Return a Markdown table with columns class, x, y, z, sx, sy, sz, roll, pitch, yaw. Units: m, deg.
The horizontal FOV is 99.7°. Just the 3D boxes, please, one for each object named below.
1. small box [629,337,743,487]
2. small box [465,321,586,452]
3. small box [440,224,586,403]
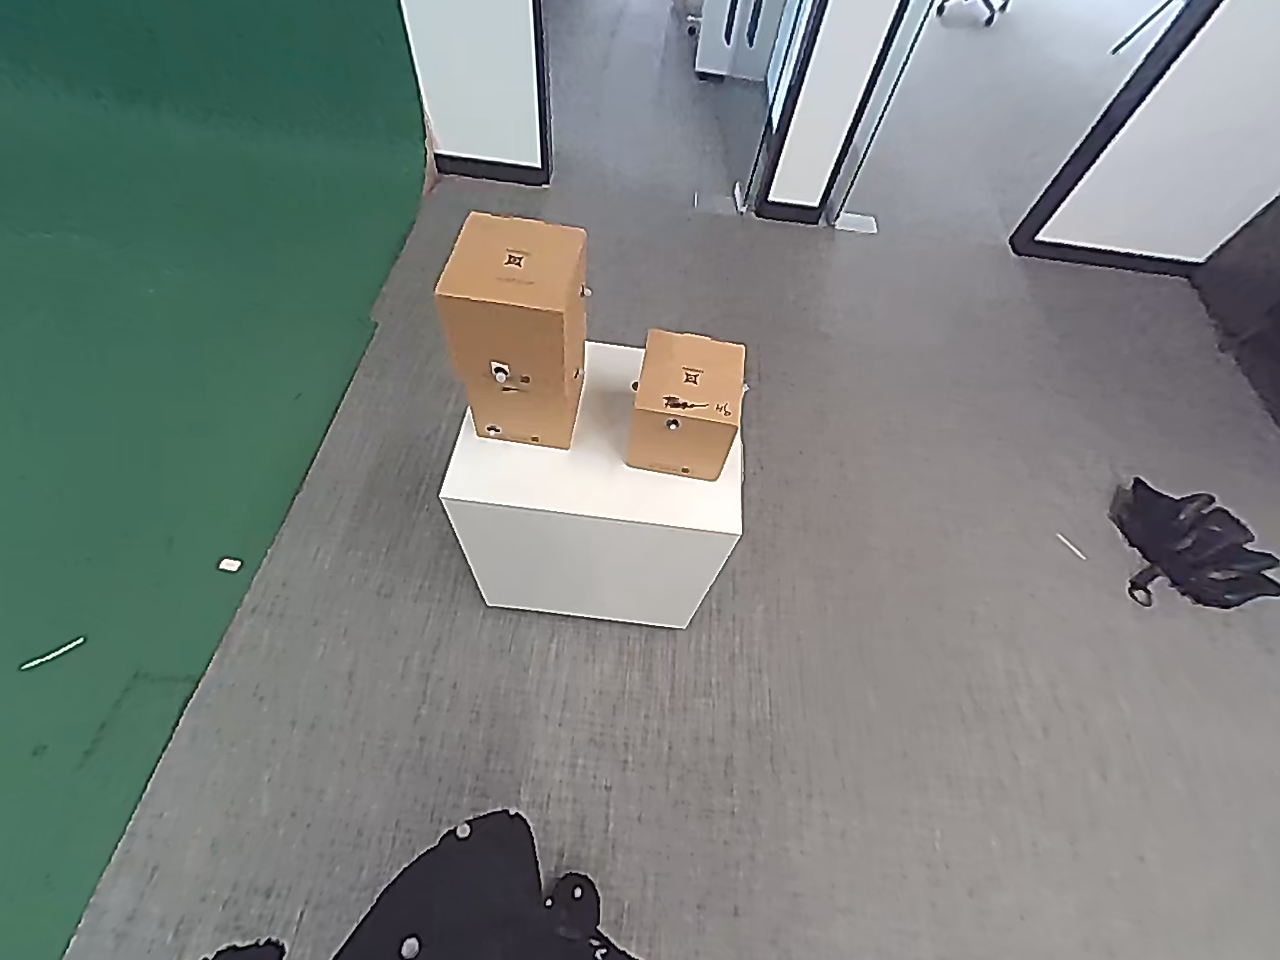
| class | x | y | z | sx | sy | sz | roll | pitch | yaw |
| --- | --- | --- | --- | --- | --- | --- | --- | --- | --- |
| small box | 0.075 | -0.115 | 0.938 | 0.168 | 0.176 | 0.179 | 10 | 57 | 1 |
| small box | -0.188 | -0.169 | 0.942 | 0.168 | 0.176 | 0.179 | 8 | 57 | -2 |
| small box | -0.174 | -0.240 | 0.797 | 0.168 | 0.176 | 0.179 | 7 | 59 | -1 |
